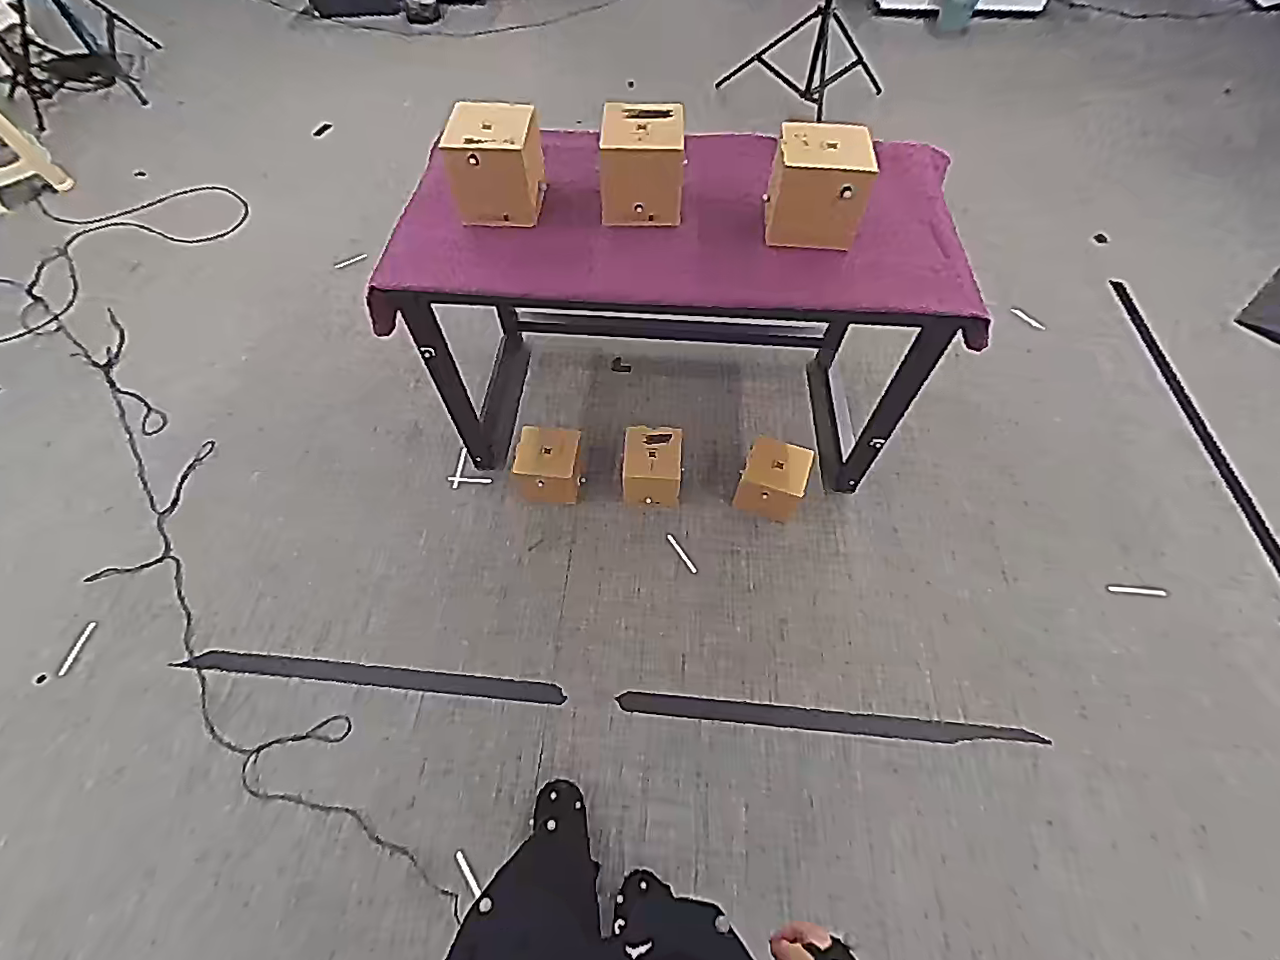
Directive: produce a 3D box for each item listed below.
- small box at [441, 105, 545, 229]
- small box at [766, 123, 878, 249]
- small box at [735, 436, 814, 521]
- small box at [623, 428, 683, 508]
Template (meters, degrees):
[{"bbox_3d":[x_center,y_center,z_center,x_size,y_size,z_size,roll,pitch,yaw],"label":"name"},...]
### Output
[{"bbox_3d":[-0.301,-0.664,1.153,0.168,0.176,0.179,2,58,1],"label":"small box"},{"bbox_3d":[0.362,-0.596,1.106,0.179,0.176,0.168,5,58,4],"label":"small box"},{"bbox_3d":[0.393,0.002,1.597,0.179,0.176,0.168,18,61,12],"label":"small box"},{"bbox_3d":[0.039,-0.034,1.620,0.168,0.176,0.179,3,60,2],"label":"small box"}]
